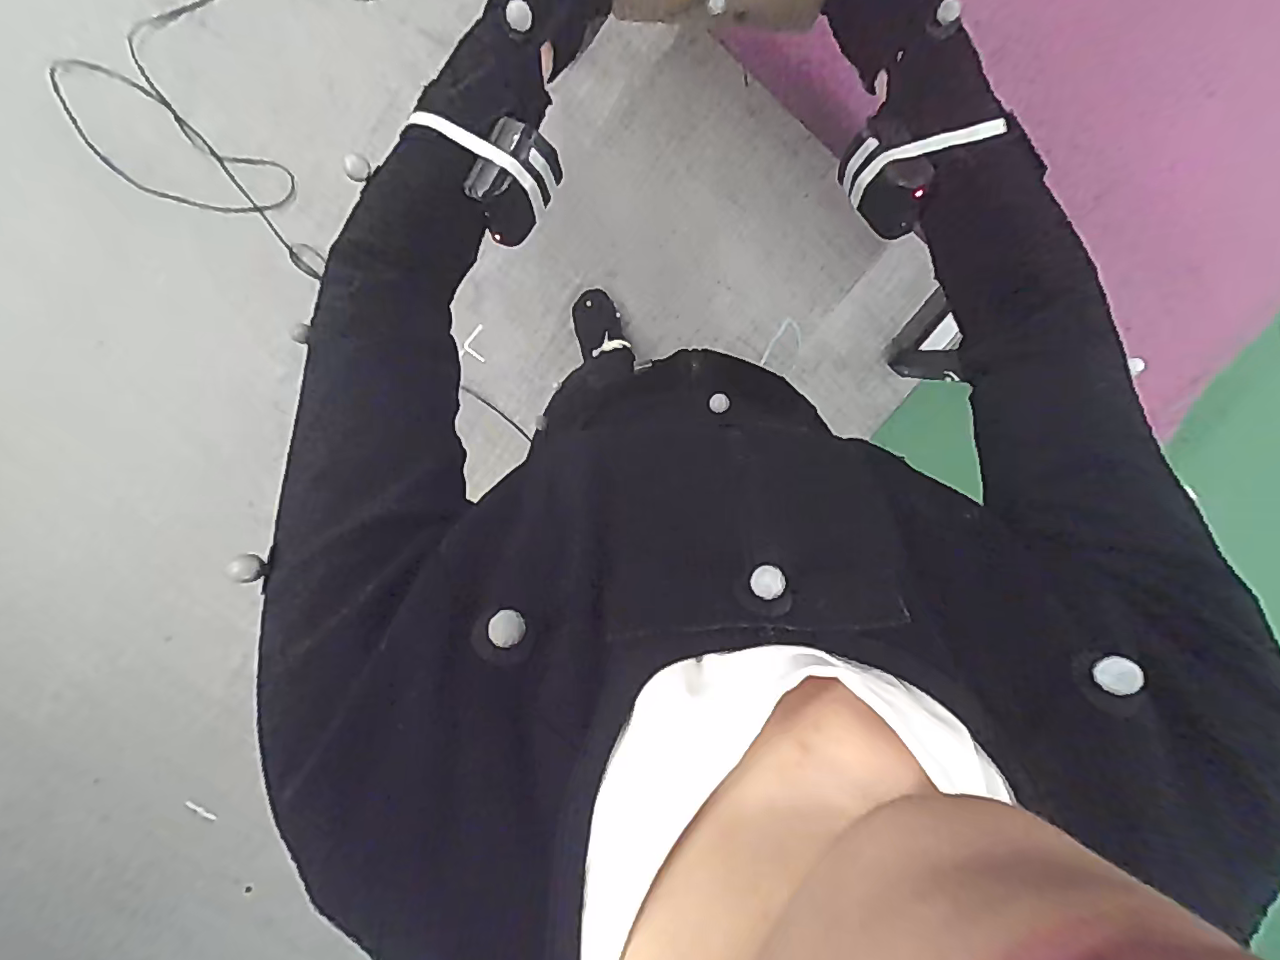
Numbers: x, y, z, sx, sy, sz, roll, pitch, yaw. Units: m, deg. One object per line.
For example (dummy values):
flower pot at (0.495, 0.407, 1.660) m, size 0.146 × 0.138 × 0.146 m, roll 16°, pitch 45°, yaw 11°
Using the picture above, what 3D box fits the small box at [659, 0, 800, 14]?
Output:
small box at (0.056, -0.449, 0.341) m, size 0.168 × 0.176 × 0.179 m, roll 5°, pitch 107°, yaw 1°
